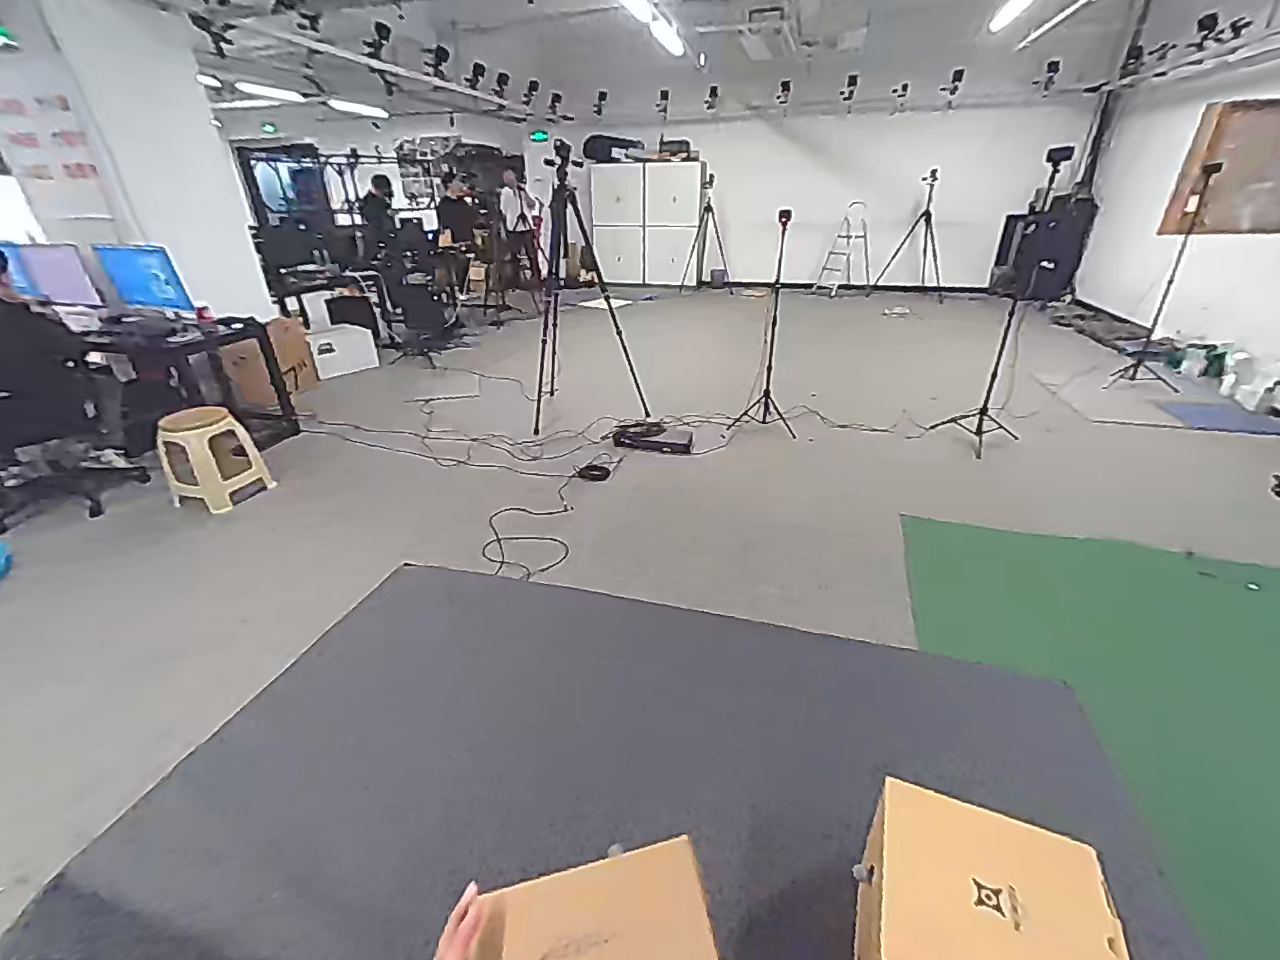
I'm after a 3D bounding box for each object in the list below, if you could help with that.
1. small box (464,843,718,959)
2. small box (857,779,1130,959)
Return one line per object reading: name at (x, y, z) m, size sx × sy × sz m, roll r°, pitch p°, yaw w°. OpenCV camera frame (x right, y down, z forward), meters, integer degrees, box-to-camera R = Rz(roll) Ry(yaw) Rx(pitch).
small box at (-0.018, 0.396, 0.396) m, size 0.168 × 0.176 × 0.179 m, roll -14°, pitch 50°, yaw -5°
small box at (0.297, 0.419, 0.483) m, size 0.179 × 0.176 × 0.168 m, roll 11°, pitch 29°, yaw 20°
